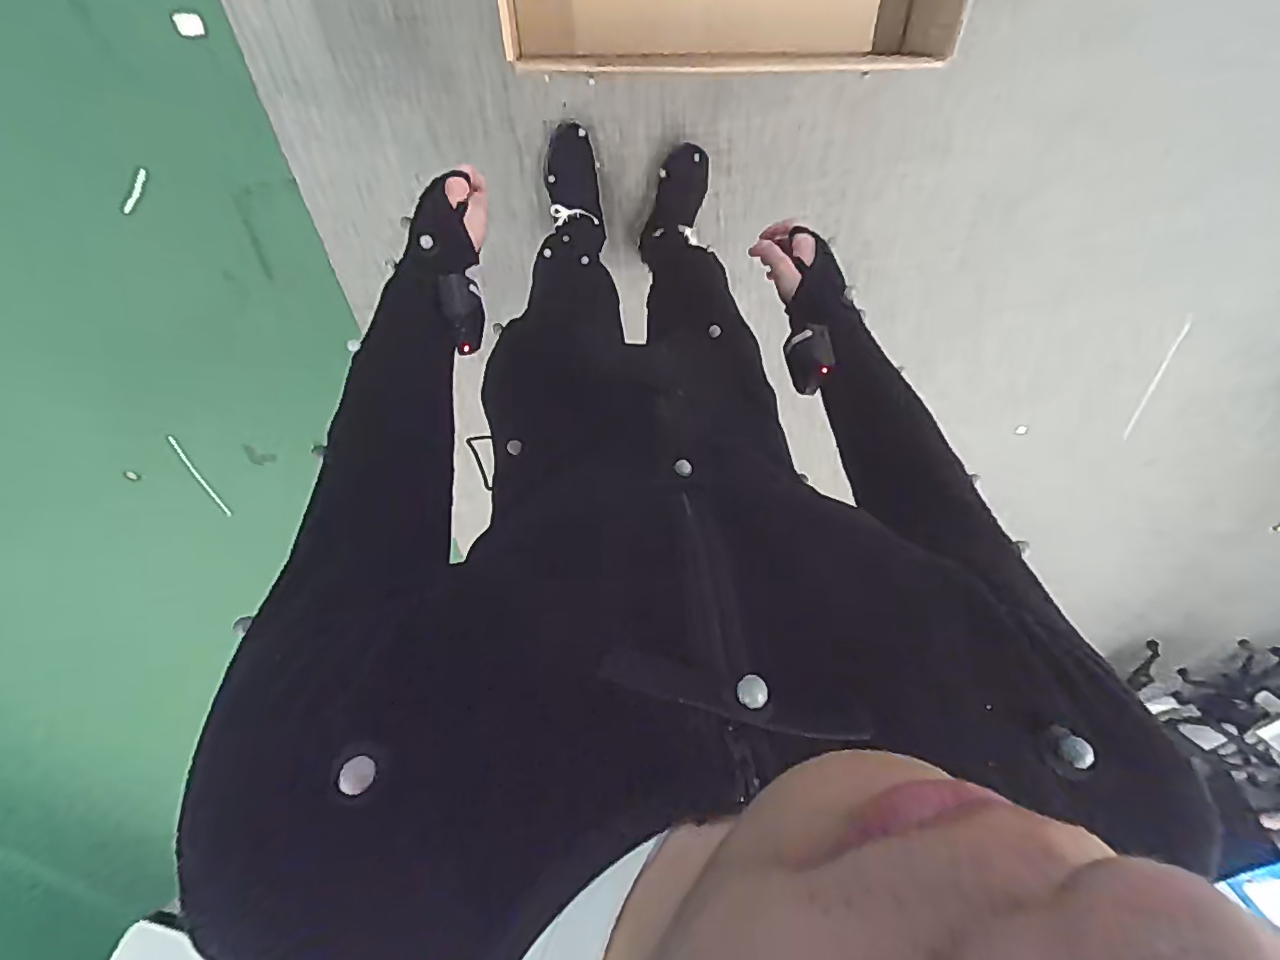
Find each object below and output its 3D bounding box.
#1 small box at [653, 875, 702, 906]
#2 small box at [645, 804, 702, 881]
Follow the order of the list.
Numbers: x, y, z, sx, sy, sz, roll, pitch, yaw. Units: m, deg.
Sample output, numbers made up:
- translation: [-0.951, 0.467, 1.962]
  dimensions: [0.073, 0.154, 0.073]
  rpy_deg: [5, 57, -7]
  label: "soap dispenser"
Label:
- translation: [0.133, 1.449, 2.012]
  dimensions: [0.168, 0.176, 0.179]
  rpy_deg: [-10, 129, -1]
  label: "small box"
- translation: [0.111, 1.214, 1.816]
  dimensions: [0.168, 0.176, 0.179]
  rpy_deg: [-8, 130, -2]
  label: "small box"
